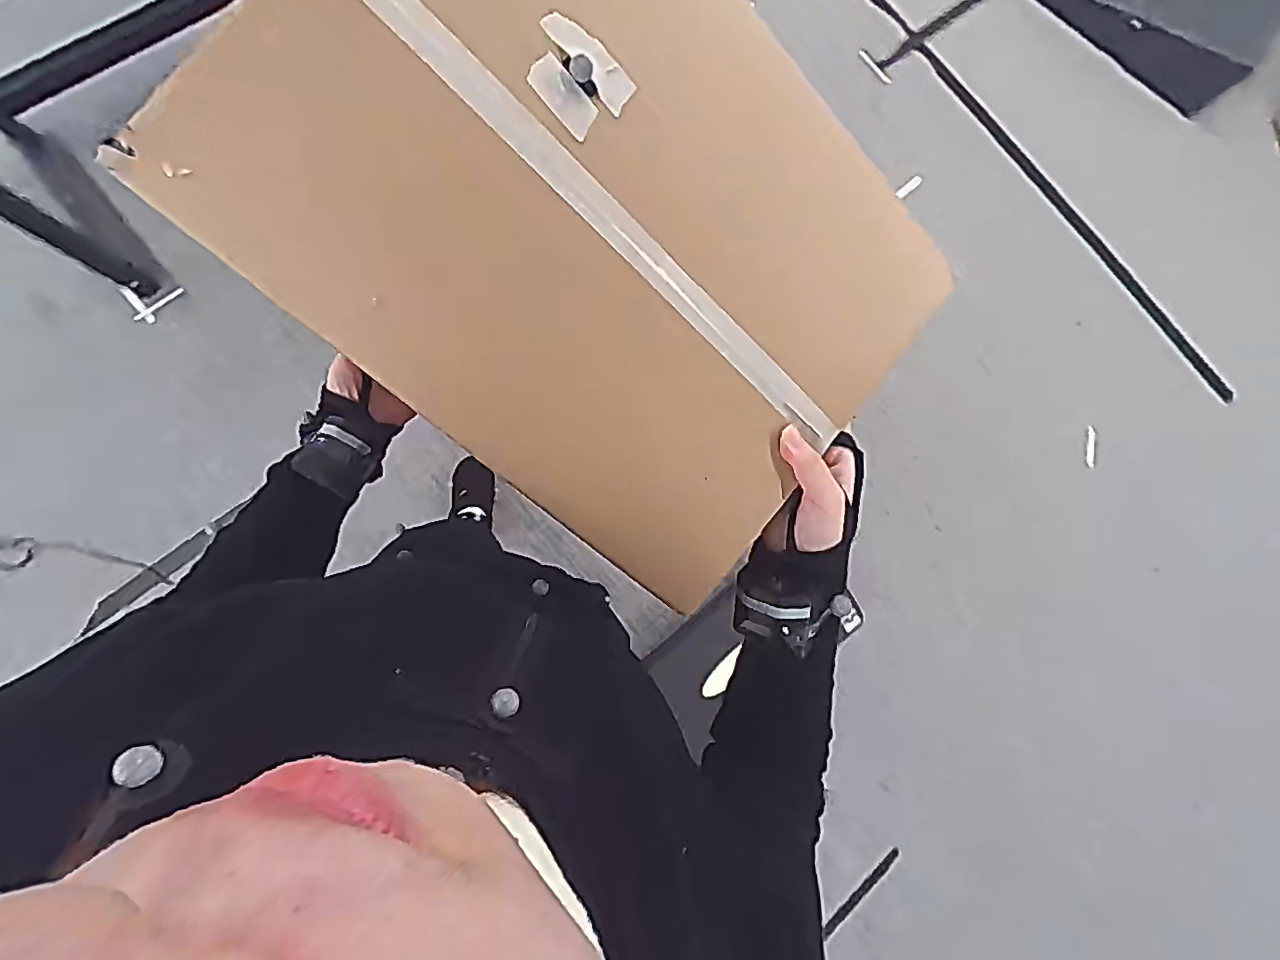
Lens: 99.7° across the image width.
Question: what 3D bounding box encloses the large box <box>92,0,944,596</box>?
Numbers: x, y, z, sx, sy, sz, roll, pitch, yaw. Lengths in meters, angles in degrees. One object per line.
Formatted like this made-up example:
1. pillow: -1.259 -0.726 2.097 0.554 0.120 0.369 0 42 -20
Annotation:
1. large box: -0.060 -0.174 0.463 0.408 0.320 0.320 39 87 -16
